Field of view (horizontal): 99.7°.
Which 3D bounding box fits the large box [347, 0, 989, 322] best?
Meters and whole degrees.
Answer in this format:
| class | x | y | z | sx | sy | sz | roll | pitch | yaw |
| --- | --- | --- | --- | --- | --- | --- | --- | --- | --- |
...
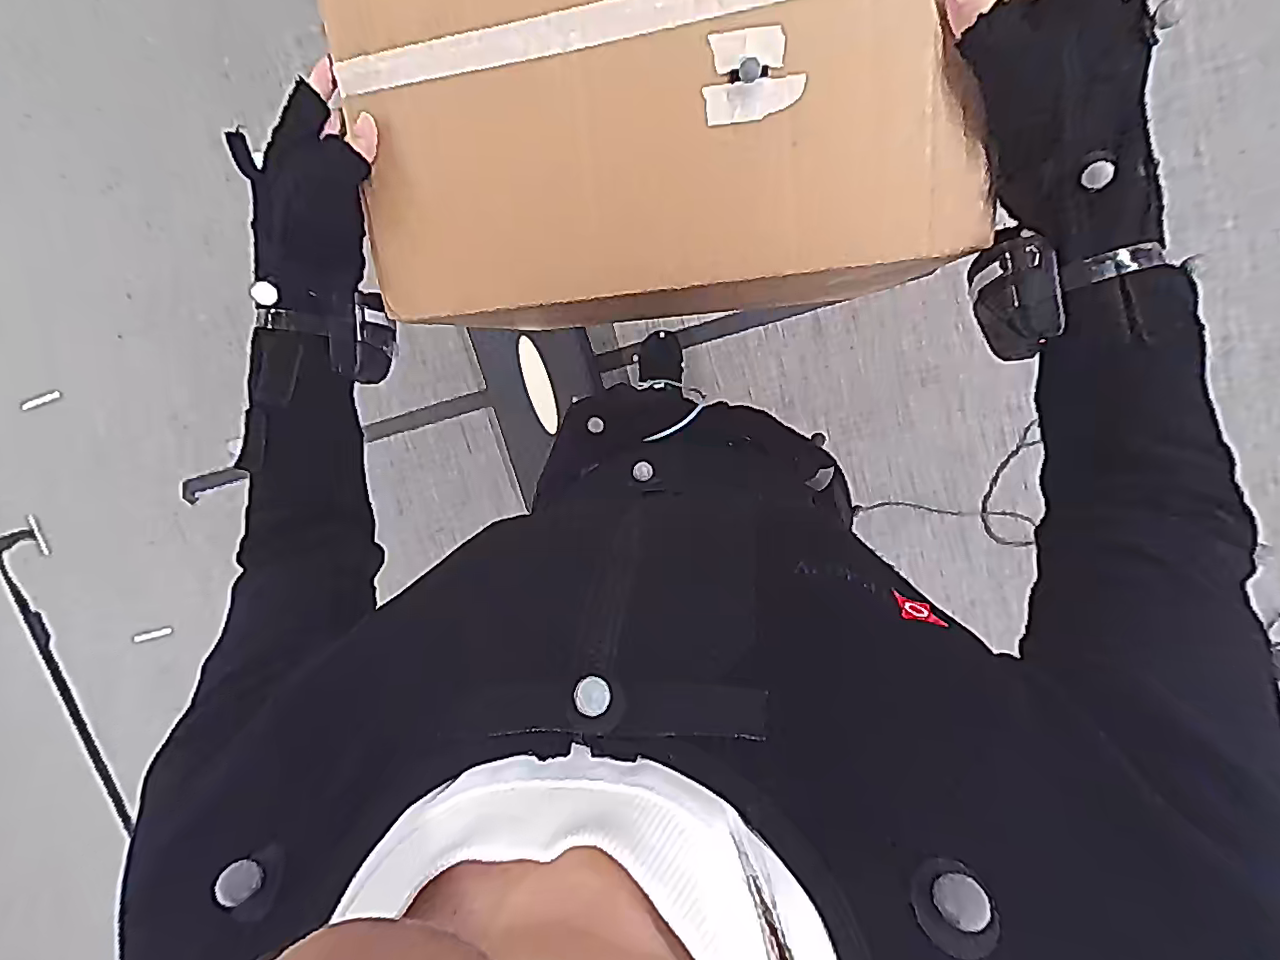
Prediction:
| class | x | y | z | sx | sy | sz | roll | pitch | yaw |
| --- | --- | --- | --- | --- | --- | --- | --- | --- | --- |
| large box | 0.024 | -0.327 | 0.479 | 0.408 | 0.320 | 0.320 | -4 | 104 | 10 |
